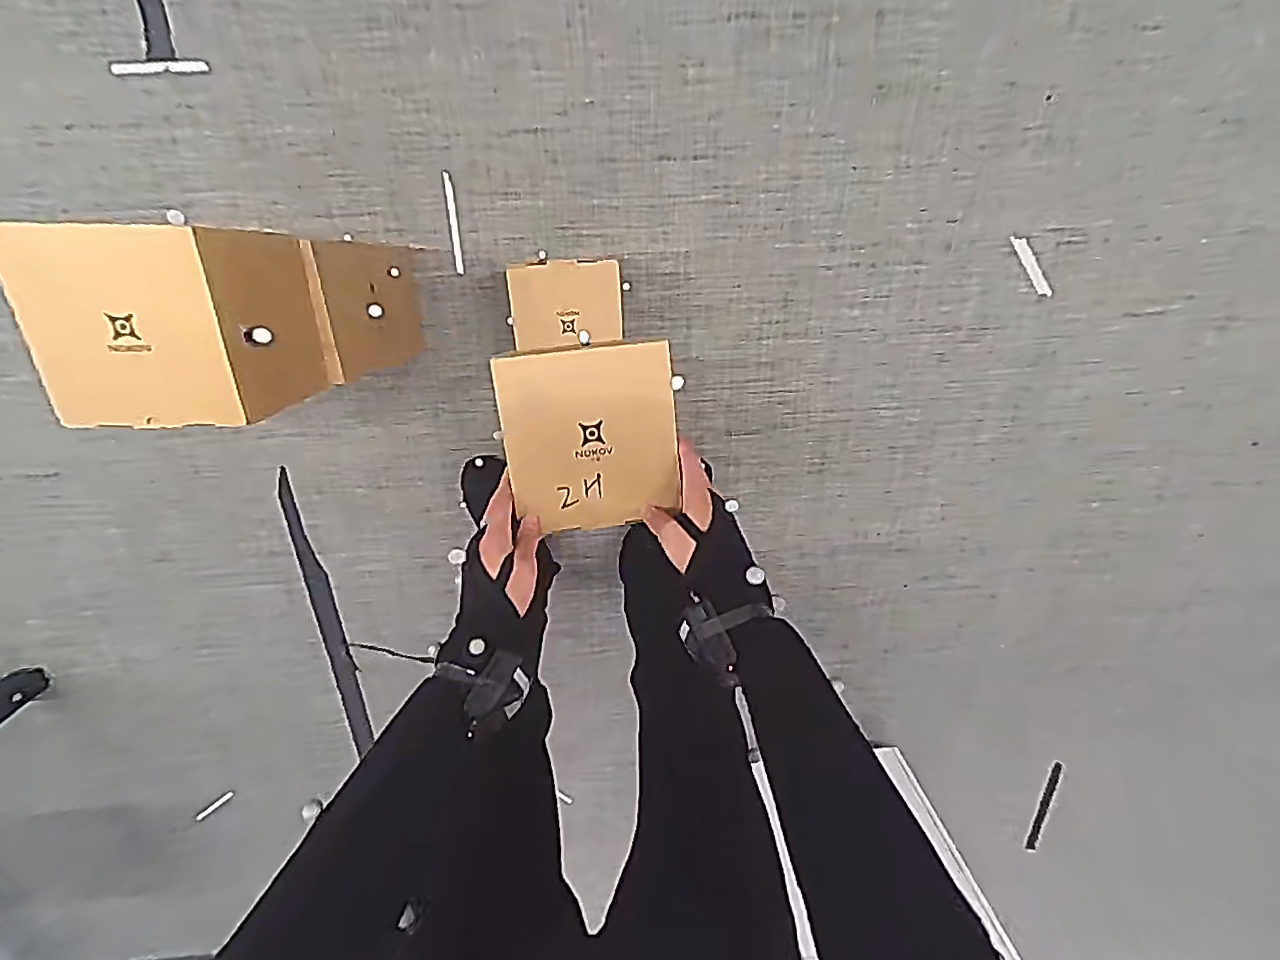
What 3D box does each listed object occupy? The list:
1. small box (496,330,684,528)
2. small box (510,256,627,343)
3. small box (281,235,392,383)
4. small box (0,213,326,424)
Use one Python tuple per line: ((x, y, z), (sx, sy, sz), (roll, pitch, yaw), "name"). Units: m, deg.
((-0.052, -0.065, 0.587), (0.168, 0.176, 0.179), (-7, 106, -4), "small box")
((-0.106, -0.265, 0.877), (0.168, 0.176, 0.179), (-4, 114, 0), "small box")
((-0.448, -0.219, 0.694), (0.179, 0.176, 0.168), (-3, 113, -3), "small box")
((-0.449, -0.163, 0.541), (0.168, 0.176, 0.179), (-1, 113, -4), "small box")
